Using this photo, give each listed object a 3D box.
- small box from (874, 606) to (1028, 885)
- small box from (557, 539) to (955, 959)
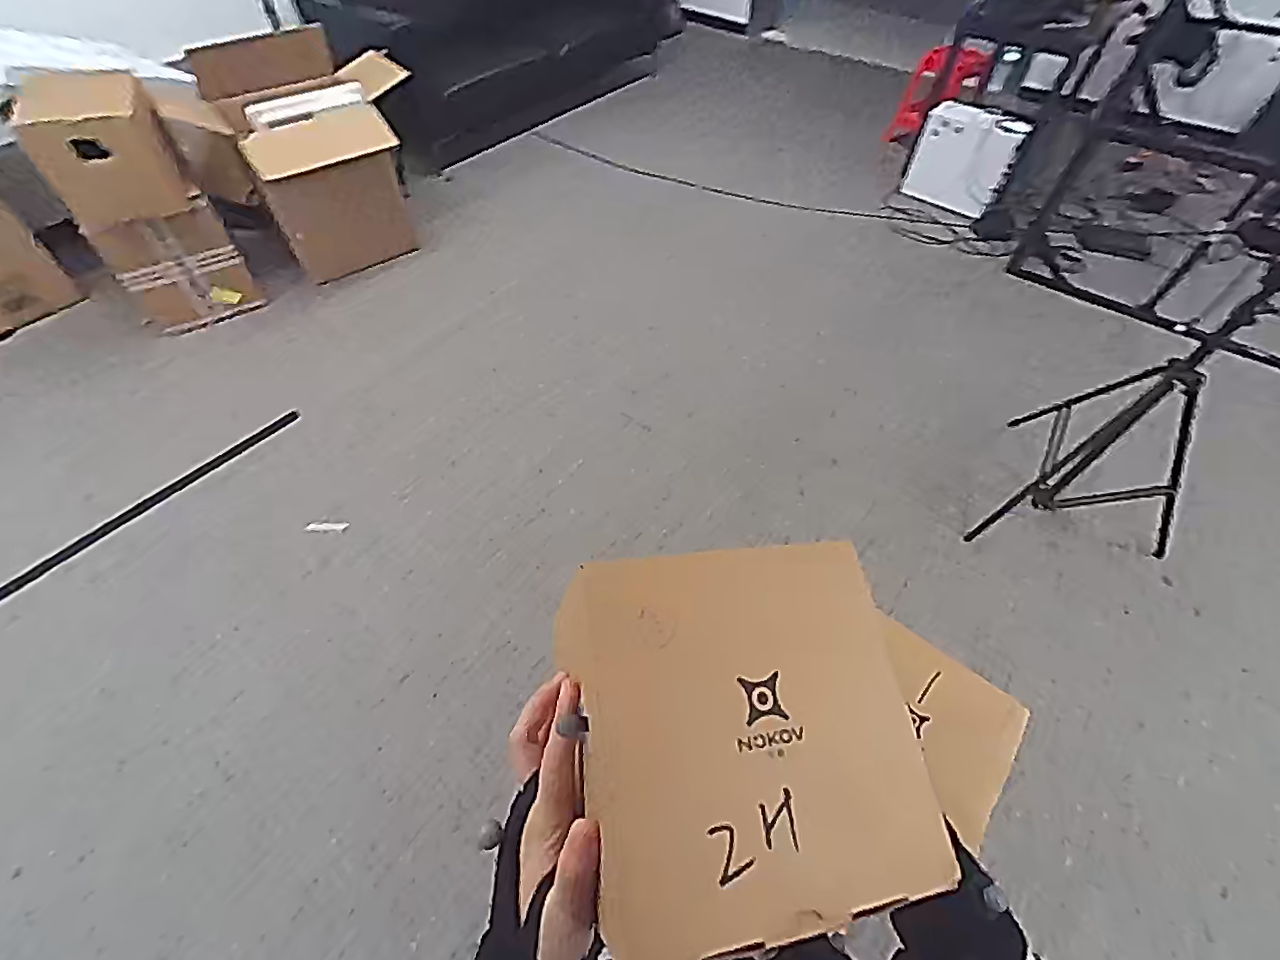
[{"bbox_3d":[0.238,0.267,0.549,0.168,0.176,0.179,35,61,22],"label":"small box"},{"bbox_3d":[0.042,0.150,0.340,0.168,0.176,0.179,-2,66,-16],"label":"small box"}]
